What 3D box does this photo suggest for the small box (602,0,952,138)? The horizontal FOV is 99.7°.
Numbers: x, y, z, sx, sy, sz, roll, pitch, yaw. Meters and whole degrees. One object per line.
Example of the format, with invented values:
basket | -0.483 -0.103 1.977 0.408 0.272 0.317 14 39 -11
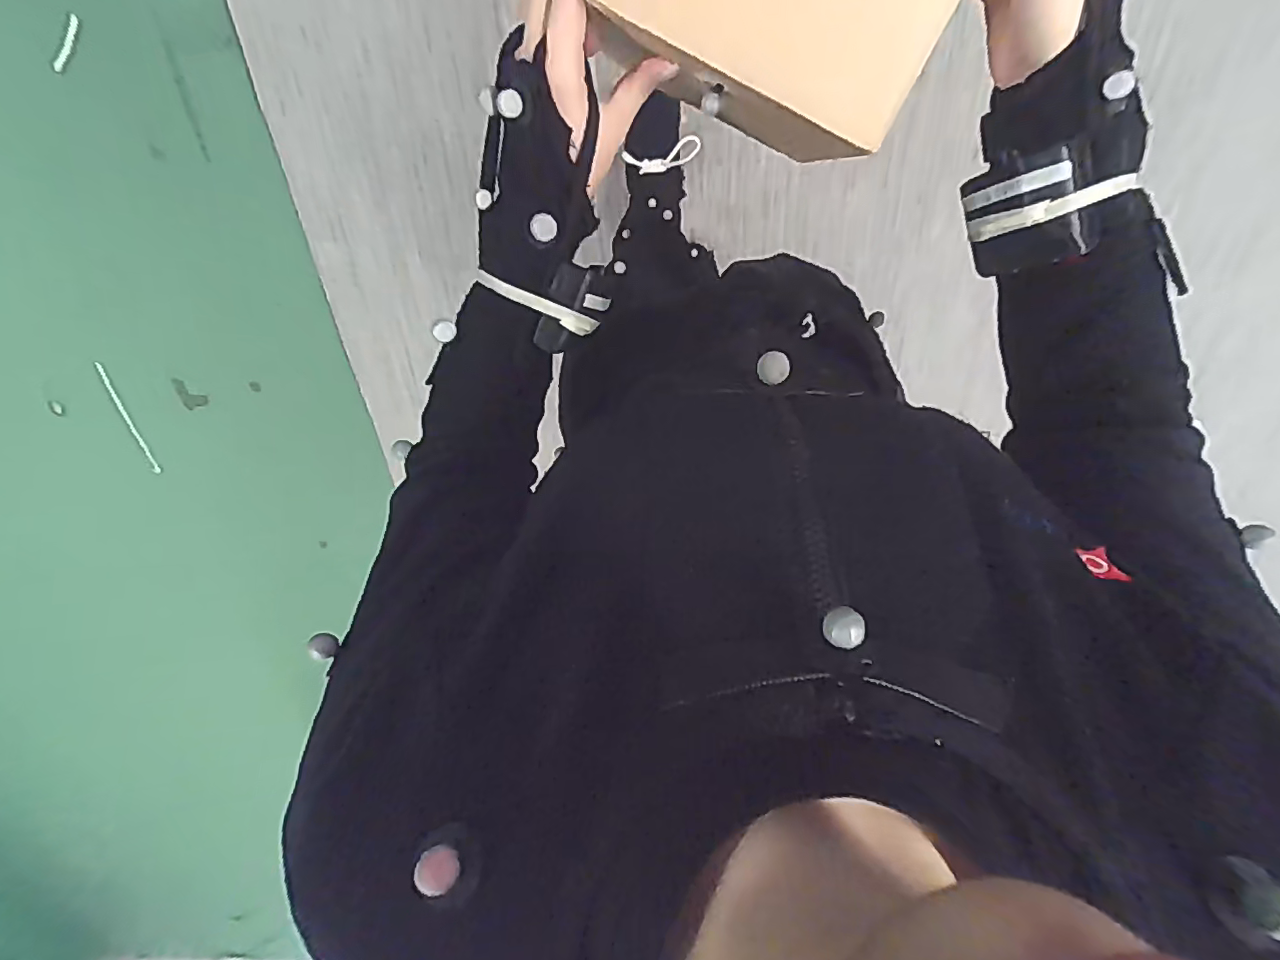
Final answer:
small box | 0.082 -0.318 0.310 0.179 0.176 0.168 20 119 -11
